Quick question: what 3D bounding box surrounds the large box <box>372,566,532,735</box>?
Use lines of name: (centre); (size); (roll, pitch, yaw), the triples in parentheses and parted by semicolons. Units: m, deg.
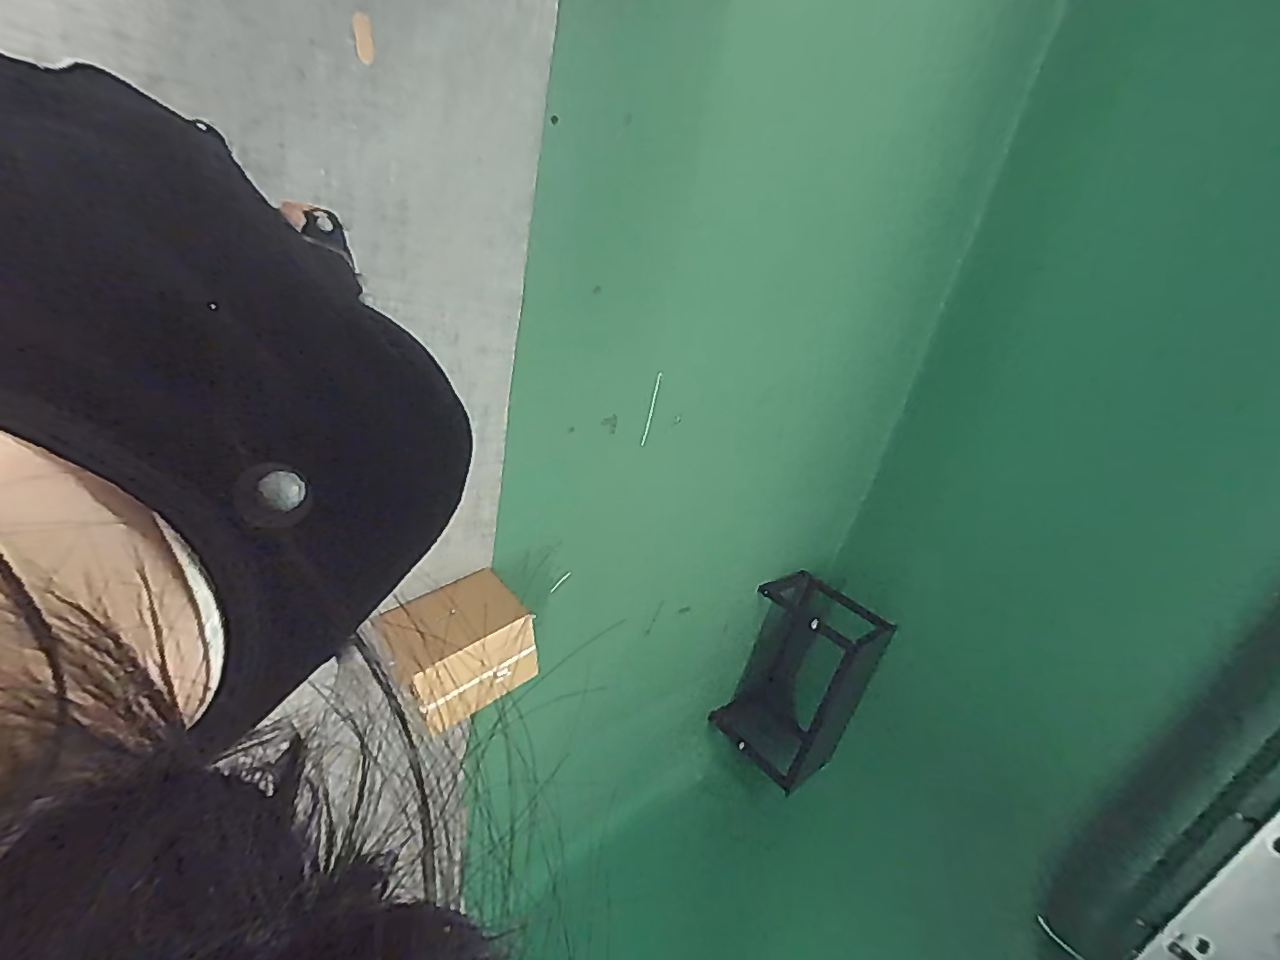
large box: (-0.637, 0.566, 1.862); (0.408, 0.320, 0.320); (-25, 131, -36)
